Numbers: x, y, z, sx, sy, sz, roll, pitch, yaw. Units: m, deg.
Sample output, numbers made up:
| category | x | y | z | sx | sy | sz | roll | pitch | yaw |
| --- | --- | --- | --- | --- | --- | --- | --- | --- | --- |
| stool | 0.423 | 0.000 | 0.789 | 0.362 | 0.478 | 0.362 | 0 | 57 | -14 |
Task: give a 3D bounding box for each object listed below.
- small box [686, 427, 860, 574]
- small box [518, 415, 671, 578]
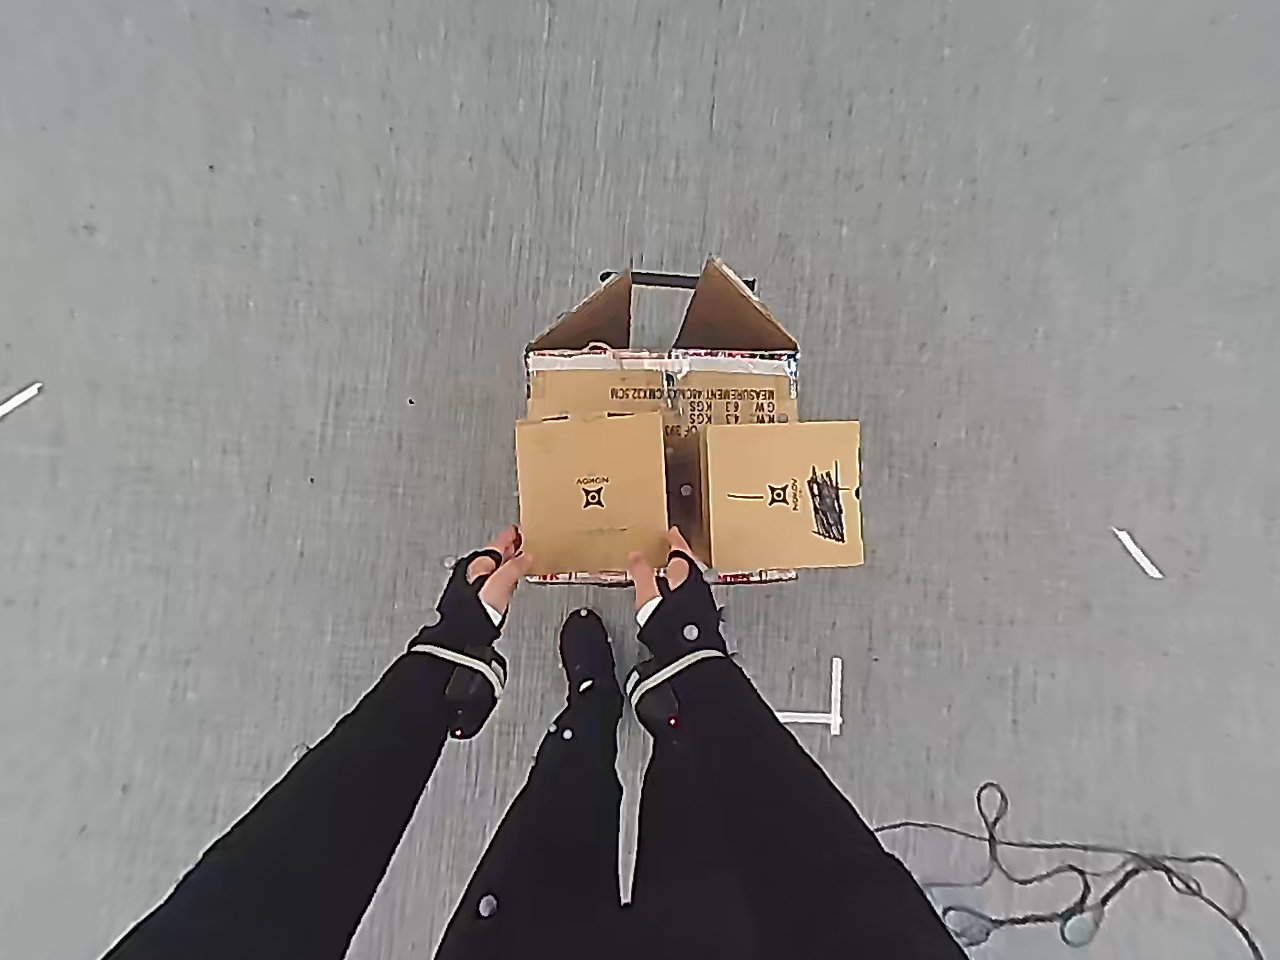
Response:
| category | x | y | z | sx | sy | sz | roll | pitch | yaw |
| --- | --- | --- | --- | --- | --- | --- | --- | --- | --- |
| small box | 0.158 | 0.021 | 0.689 | 0.179 | 0.176 | 0.168 | -2 | 90 | -2 |
| small box | -0.052 | 0.018 | 0.684 | 0.168 | 0.176 | 0.179 | -4 | 92 | 1 |
